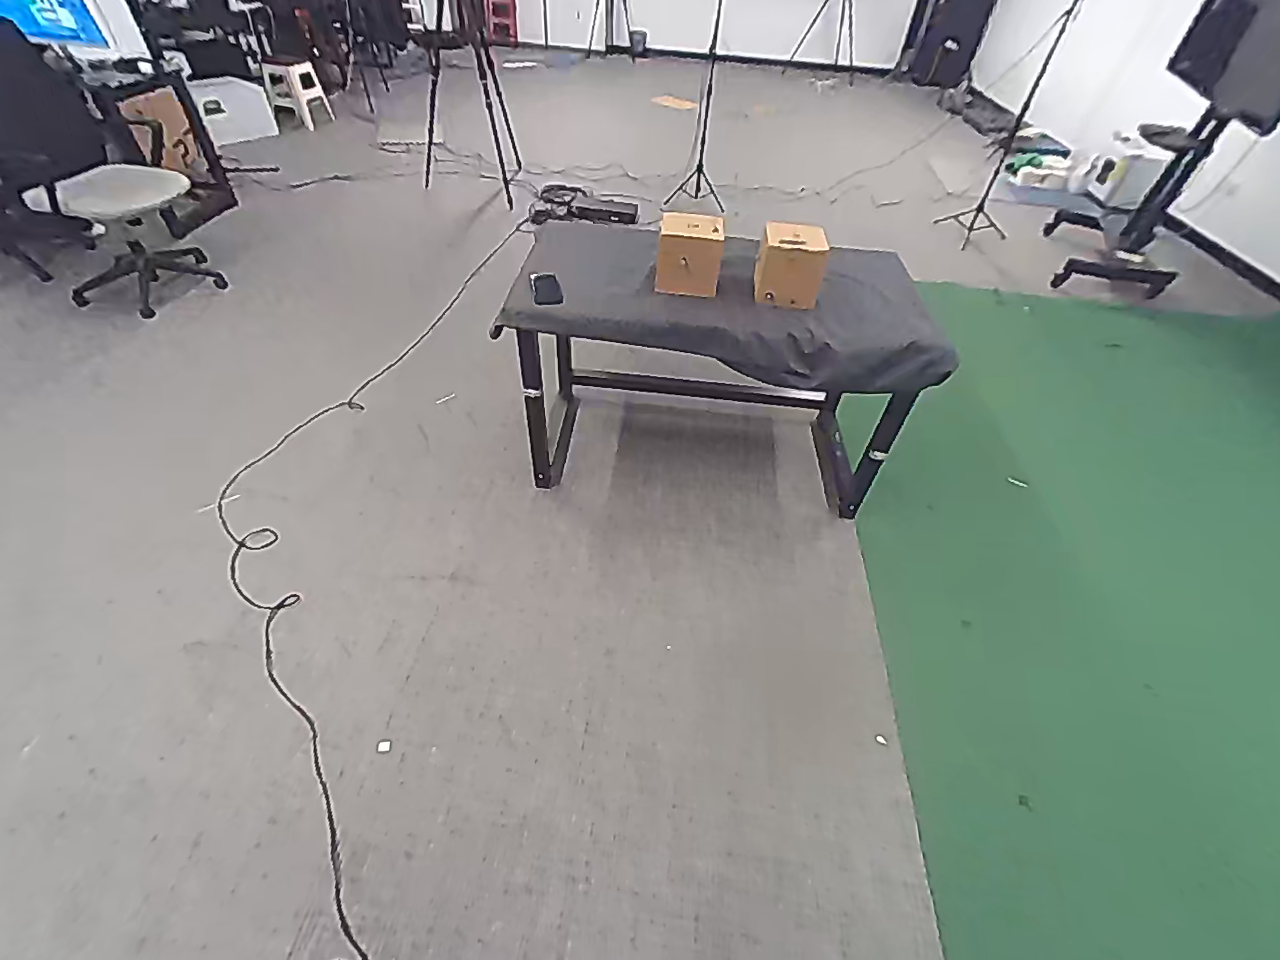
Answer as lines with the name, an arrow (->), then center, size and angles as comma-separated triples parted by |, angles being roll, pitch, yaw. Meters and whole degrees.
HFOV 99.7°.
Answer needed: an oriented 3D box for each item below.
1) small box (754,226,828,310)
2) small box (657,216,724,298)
small box -> 0.428, -0.610, 1.558 | 0.168, 0.176, 0.179 | 8, 45, 2
small box -> 0.144, -0.644, 1.567 | 0.179, 0.176, 0.168 | 6, 46, 1
